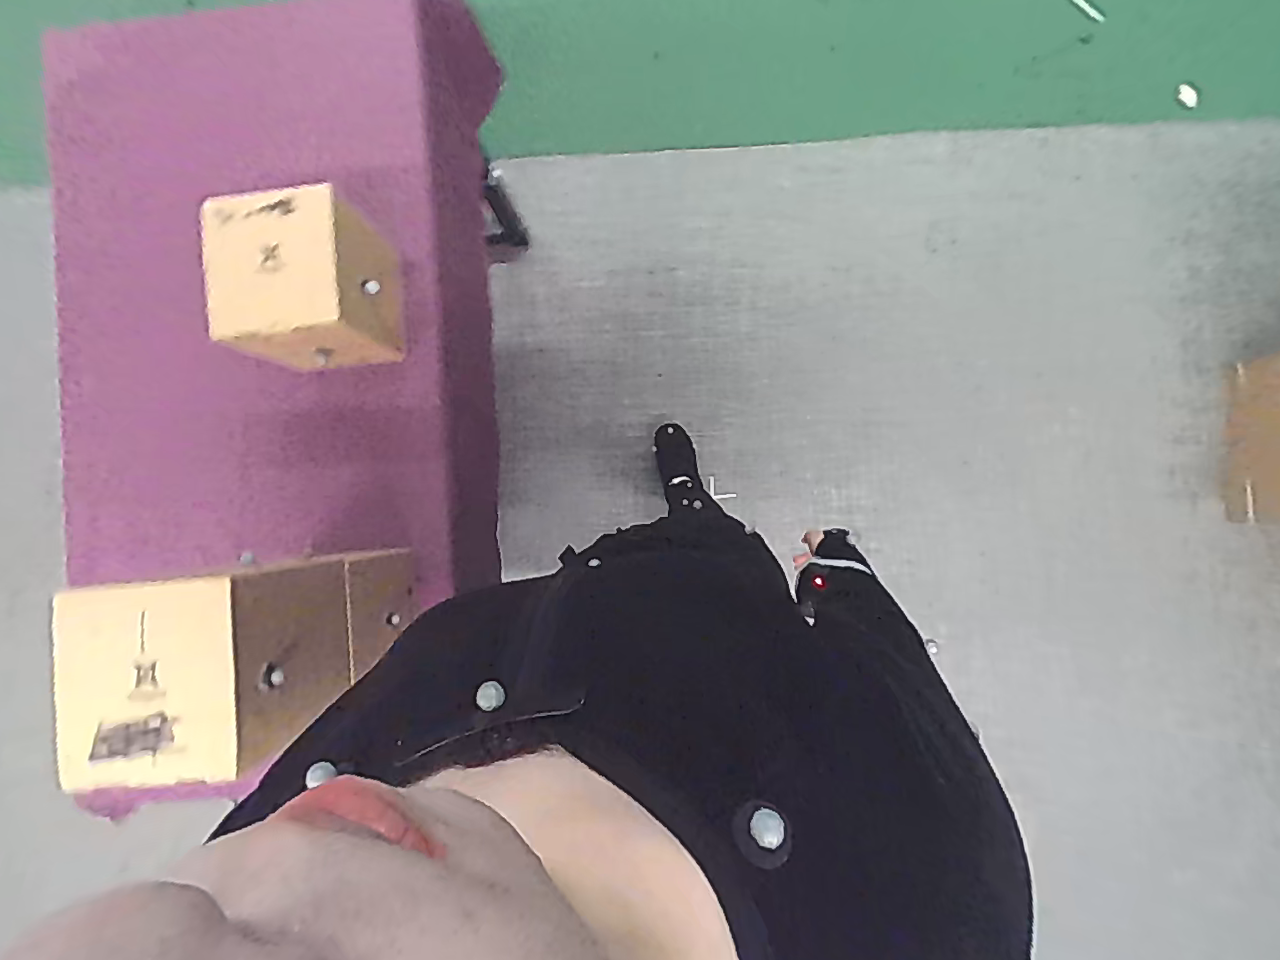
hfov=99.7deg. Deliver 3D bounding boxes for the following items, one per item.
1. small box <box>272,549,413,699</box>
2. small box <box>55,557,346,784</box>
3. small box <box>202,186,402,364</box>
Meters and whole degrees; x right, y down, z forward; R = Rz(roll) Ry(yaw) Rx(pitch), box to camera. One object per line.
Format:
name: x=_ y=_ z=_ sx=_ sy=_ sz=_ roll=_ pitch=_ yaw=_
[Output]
small box: x=-0.418 y=0.184 z=0.717 sx=0.179 sy=0.176 sz=0.168 roll=-5 pitch=87 yaw=4
small box: x=-0.427 y=0.178 z=0.553 sx=0.168 sy=0.176 sz=0.179 roll=-5 pitch=87 yaw=3
small box: x=-0.444 y=-0.262 z=0.737 sx=0.168 sy=0.176 sz=0.179 roll=-6 pitch=88 yaw=3
